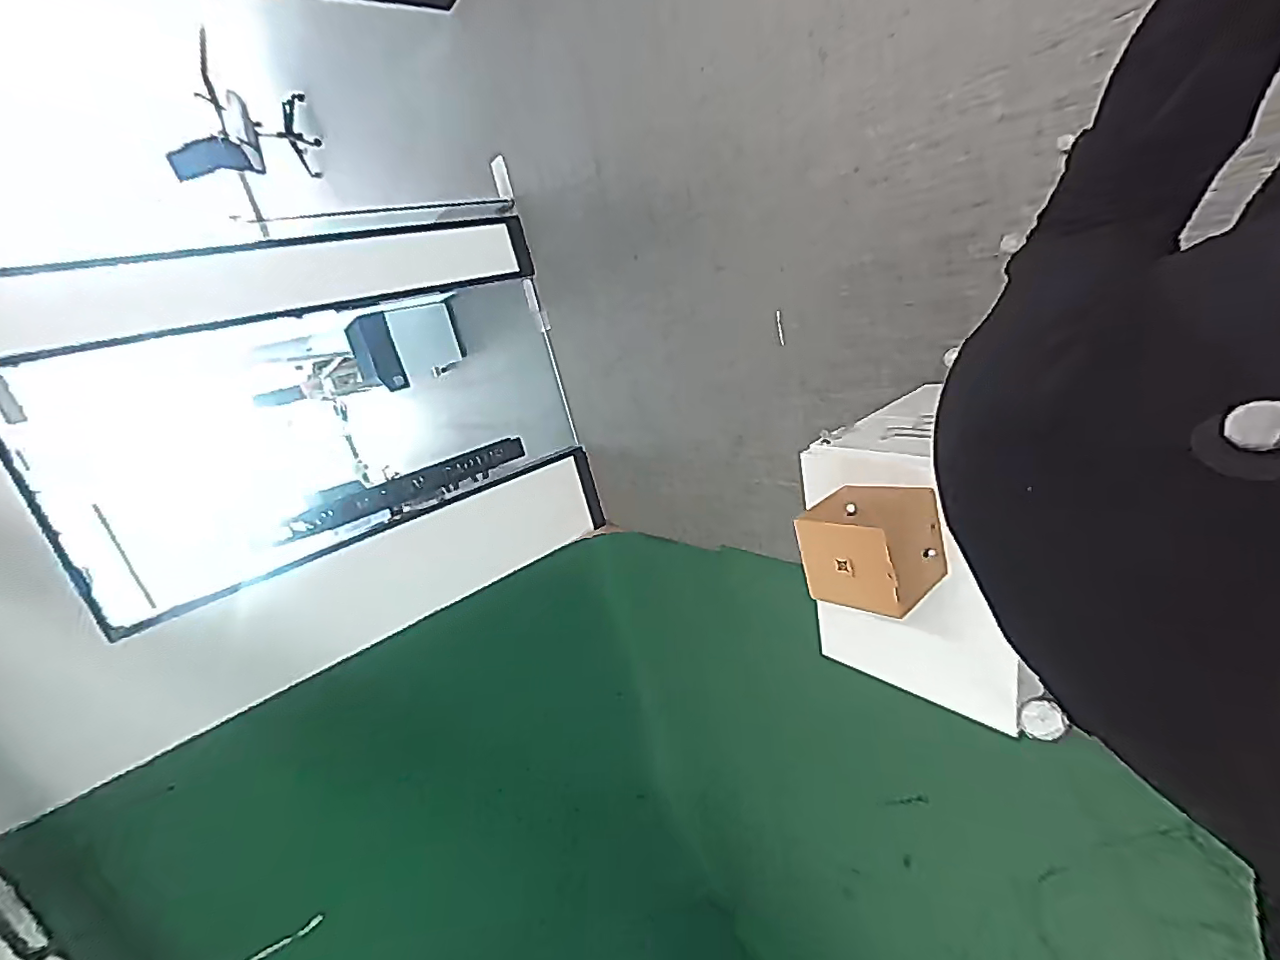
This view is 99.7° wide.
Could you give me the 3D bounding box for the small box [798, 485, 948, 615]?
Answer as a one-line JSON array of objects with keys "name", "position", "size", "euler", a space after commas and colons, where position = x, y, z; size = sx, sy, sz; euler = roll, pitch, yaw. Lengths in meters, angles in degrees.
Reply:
[{"name": "small box", "position": [0.417, 0.114, 0.967], "size": [0.179, 0.176, 0.168], "euler": [2, 112, 53]}]
